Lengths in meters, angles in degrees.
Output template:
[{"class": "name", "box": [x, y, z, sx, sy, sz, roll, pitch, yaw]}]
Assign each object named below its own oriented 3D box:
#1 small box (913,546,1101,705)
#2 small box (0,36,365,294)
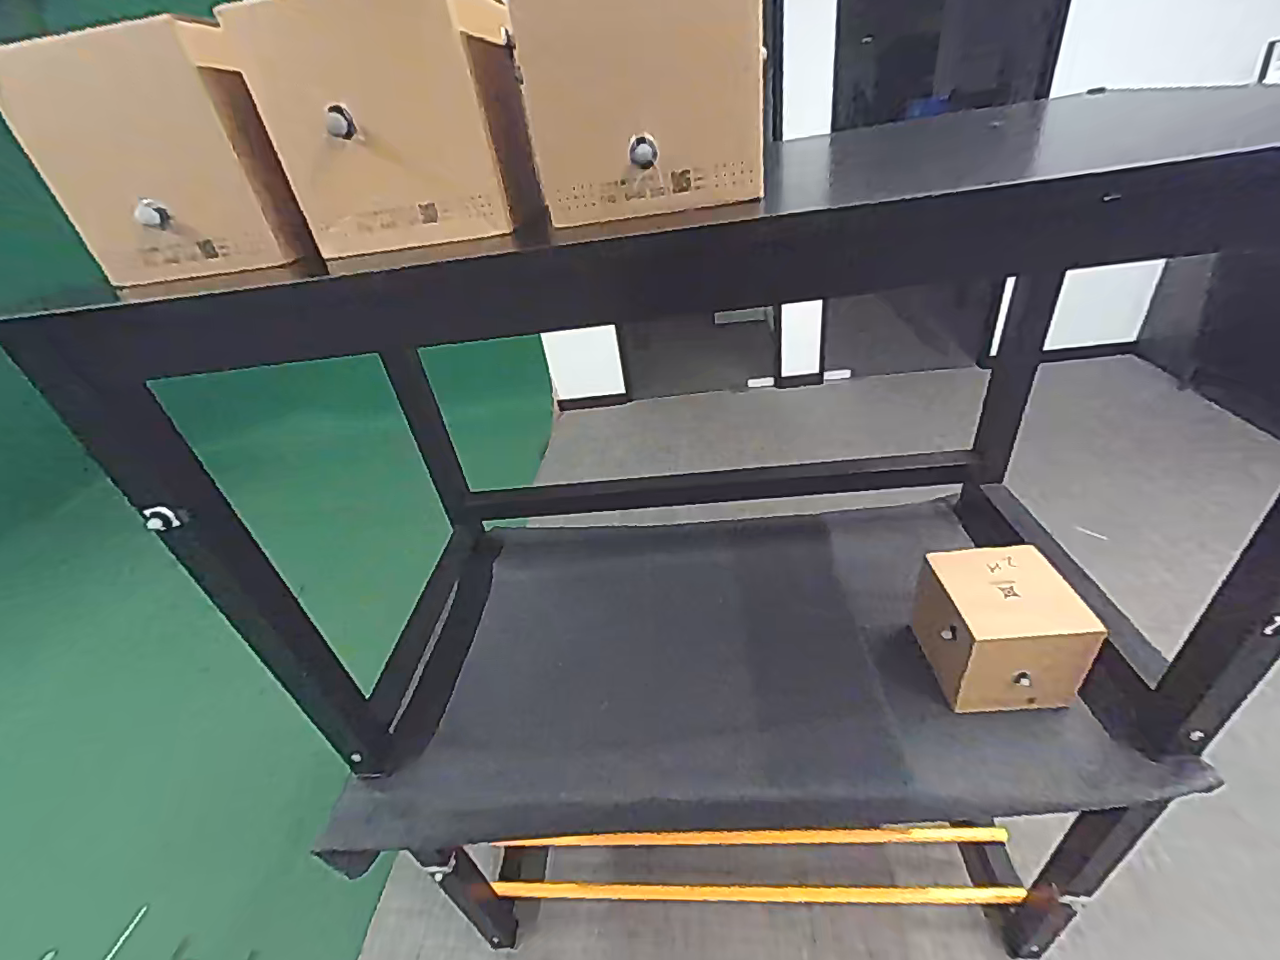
[{"class": "small box", "box": [0.540, 0.226, 0.827, 0.168, 0.176, 0.179, -6, 33, 6]}, {"class": "small box", "box": [-0.388, -0.283, 0.500, 0.168, 0.176, 0.179, -6, 35, 6]}]
